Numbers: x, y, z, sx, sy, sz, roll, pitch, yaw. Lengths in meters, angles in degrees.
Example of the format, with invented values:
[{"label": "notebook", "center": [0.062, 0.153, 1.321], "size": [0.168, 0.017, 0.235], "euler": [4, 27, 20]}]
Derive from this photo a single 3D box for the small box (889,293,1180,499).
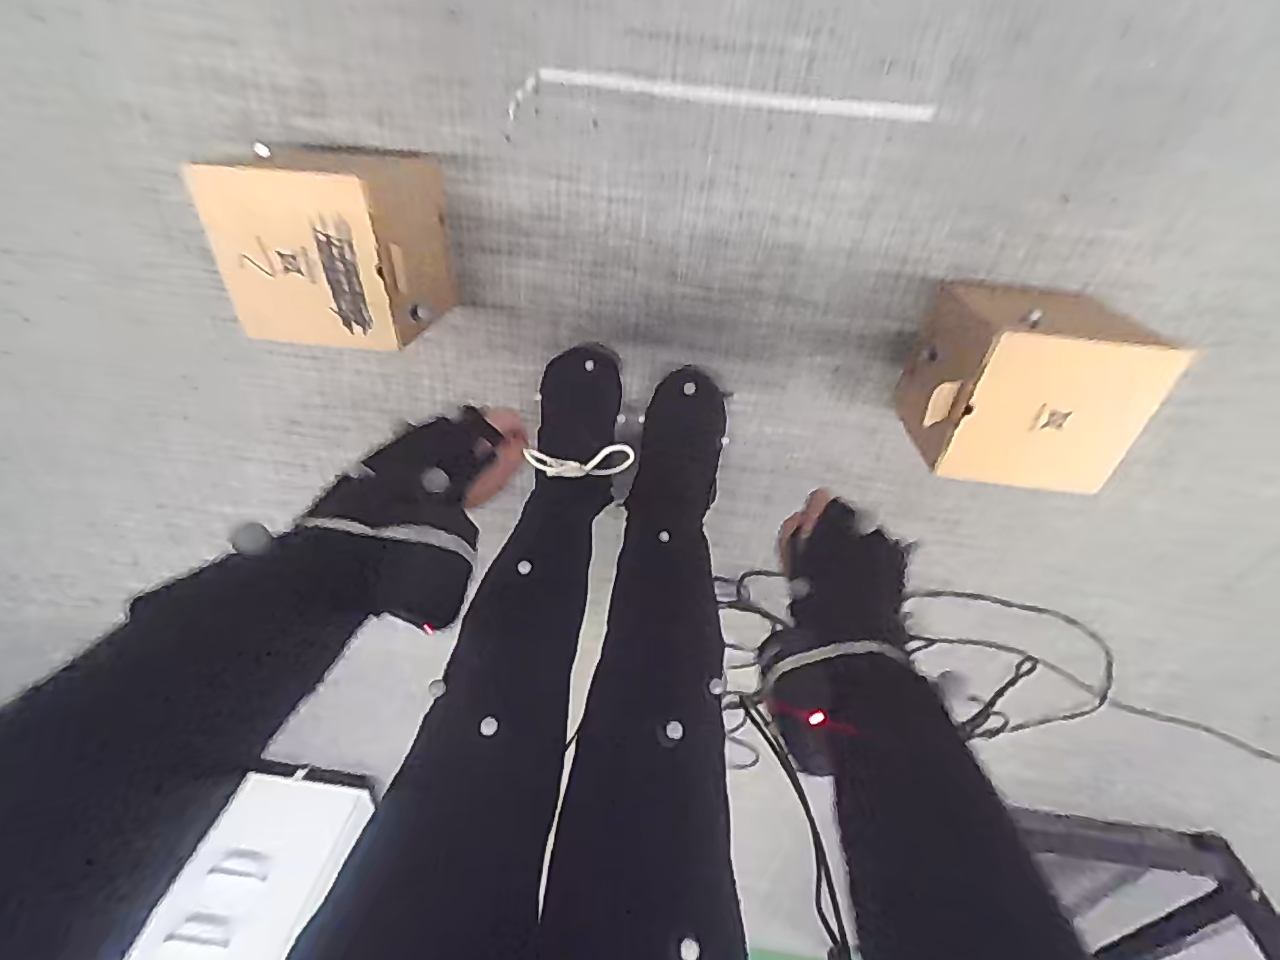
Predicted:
[{"label": "small box", "center": [0.412, -0.100, 0.607], "size": [0.179, 0.176, 0.168], "euler": [7, 126, 3]}]
